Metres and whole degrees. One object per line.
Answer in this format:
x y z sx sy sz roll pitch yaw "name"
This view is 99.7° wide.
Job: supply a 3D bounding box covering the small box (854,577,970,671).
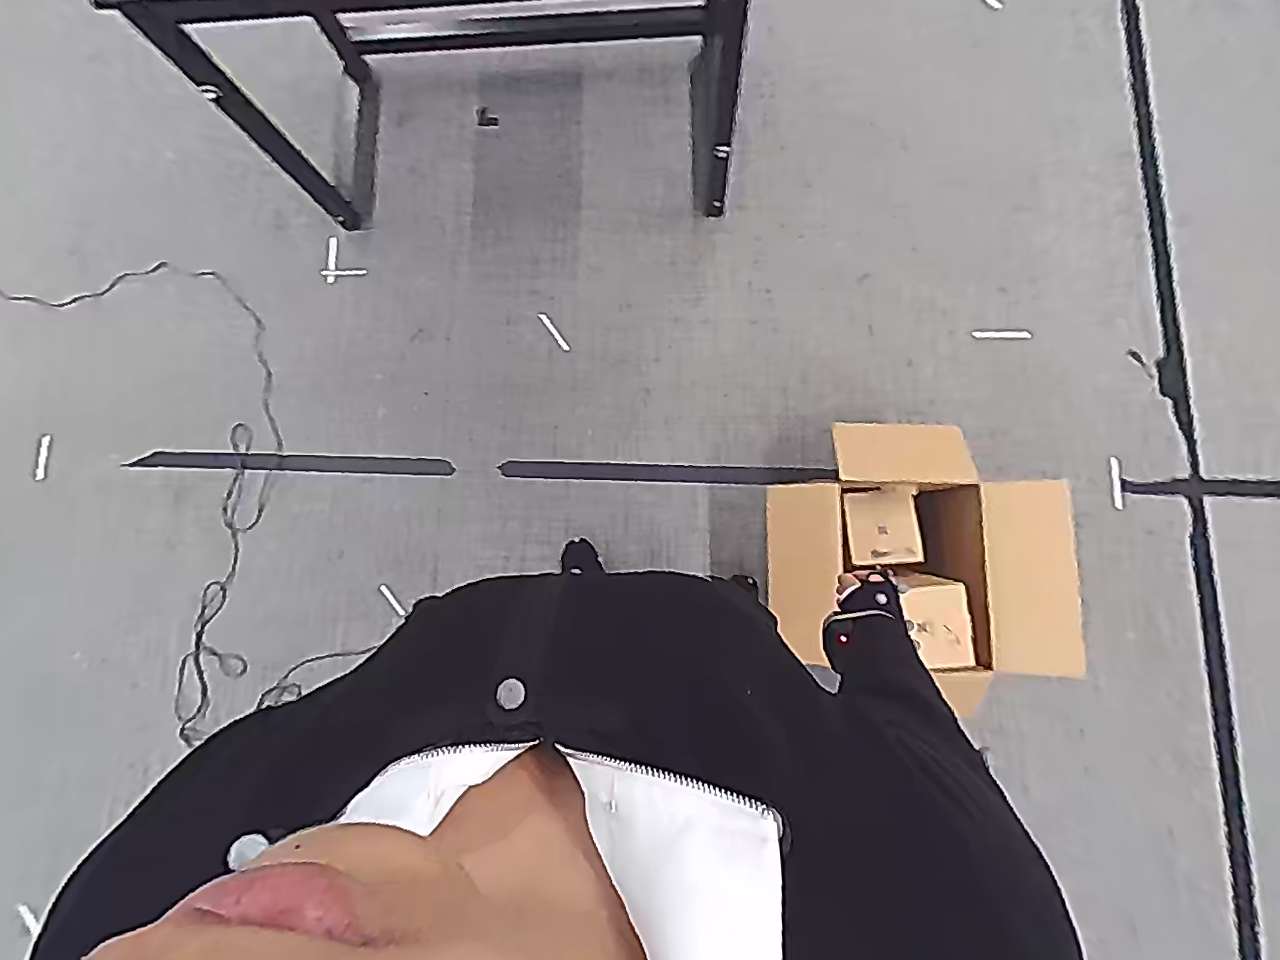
0.581 0.308 1.182 0.179 0.176 0.168 -5 86 4 "small box"
